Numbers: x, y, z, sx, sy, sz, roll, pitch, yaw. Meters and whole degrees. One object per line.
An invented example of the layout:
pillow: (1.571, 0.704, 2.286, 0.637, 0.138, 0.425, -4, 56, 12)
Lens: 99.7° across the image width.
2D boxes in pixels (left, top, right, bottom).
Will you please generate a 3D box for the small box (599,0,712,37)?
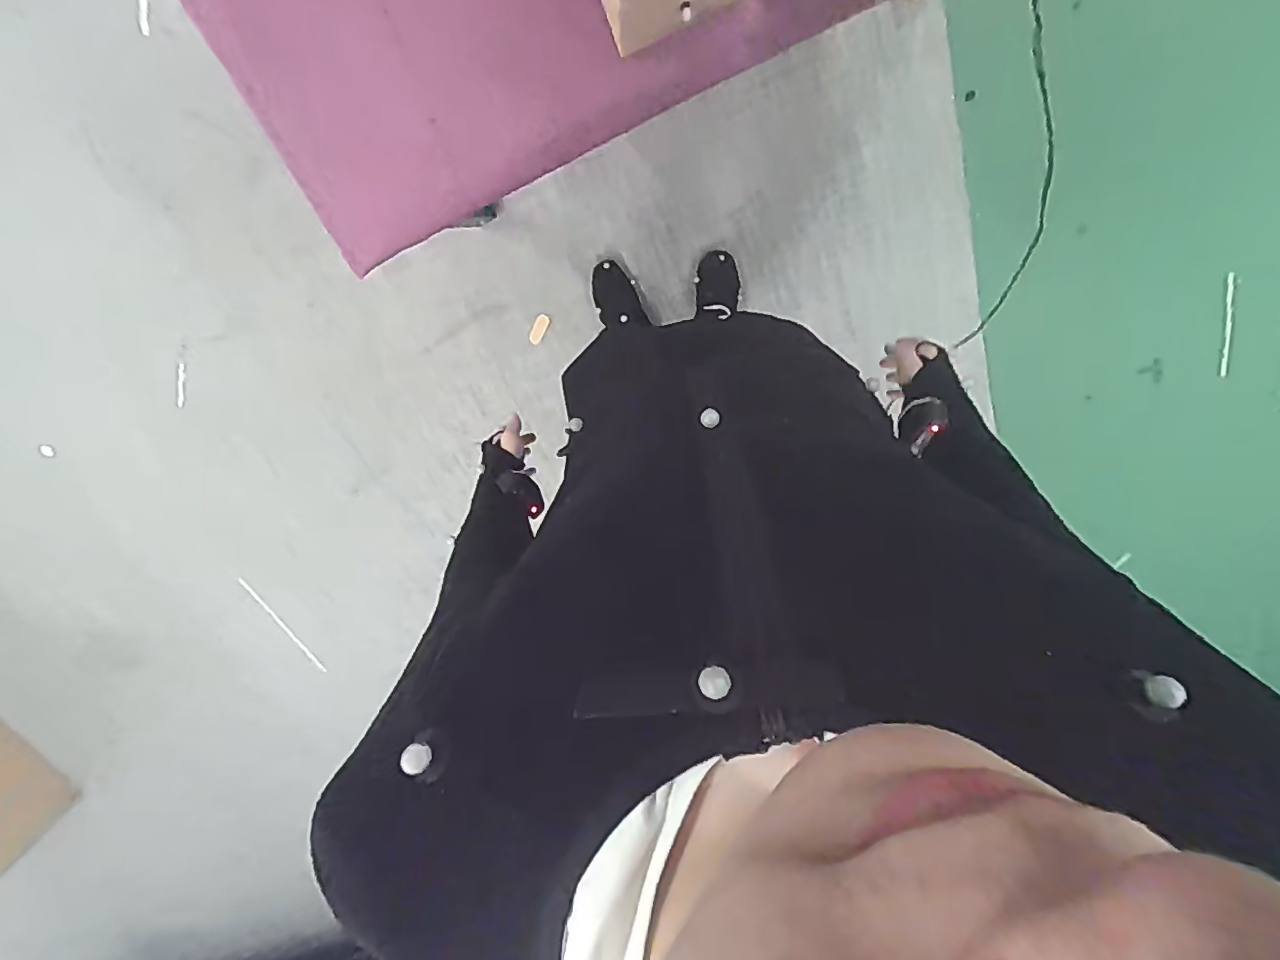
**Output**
small box: (0.017, -0.592, 0.546, 0.168, 0.176, 0.179, -21, 114, 8)
